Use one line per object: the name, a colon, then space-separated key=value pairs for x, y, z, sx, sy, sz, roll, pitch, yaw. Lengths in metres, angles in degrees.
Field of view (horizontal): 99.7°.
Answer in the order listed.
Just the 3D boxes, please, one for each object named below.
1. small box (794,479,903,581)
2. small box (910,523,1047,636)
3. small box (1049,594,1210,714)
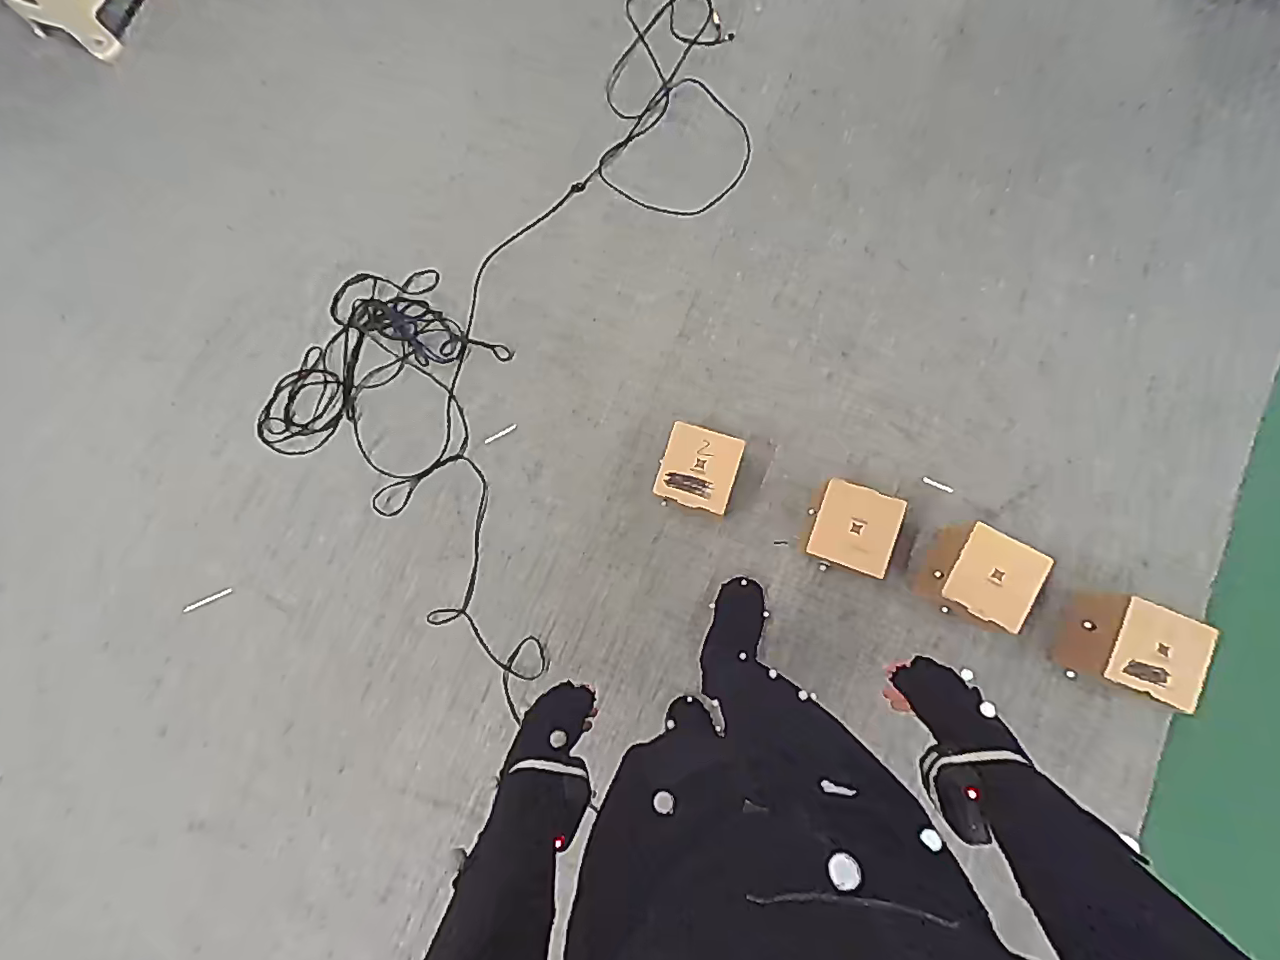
small box: x=0.461 y=0.115 z=1.221 sx=0.168 sy=0.176 sz=0.179 roll=20 pitch=85 yaw=10
small box: x=0.725 y=0.213 z=1.181 sx=0.168 sy=0.176 sz=0.179 roll=29 pitch=85 yaw=9
small box: x=1.009 y=0.353 z=1.133 sx=0.168 sy=0.176 sz=0.179 roll=24 pitch=83 yaw=8
